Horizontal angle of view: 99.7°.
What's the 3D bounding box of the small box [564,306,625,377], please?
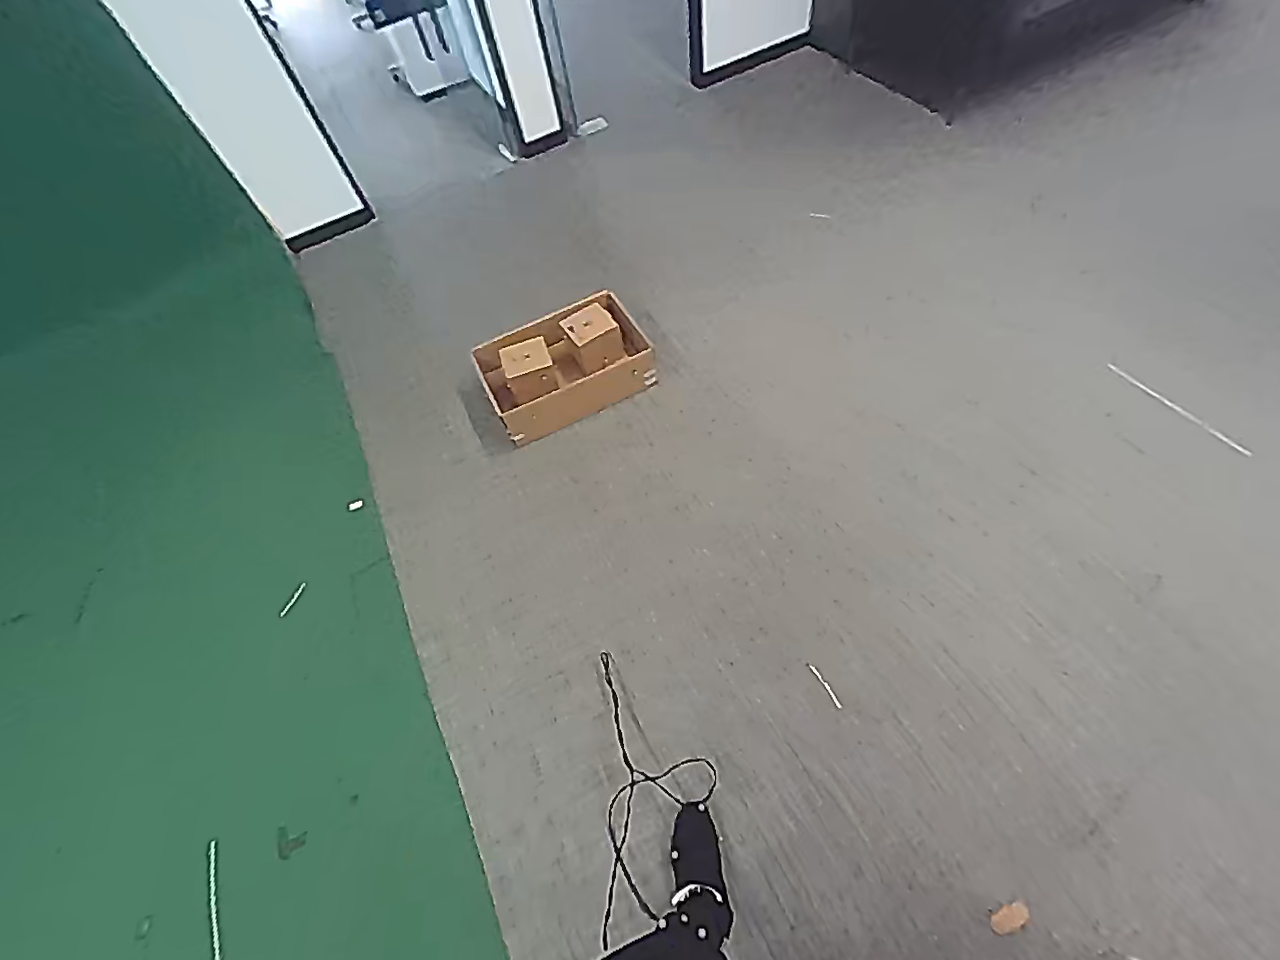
[{"bbox_3d":[-0.171,-0.535,2.104,0.179,0.176,0.168,-31,59,-10],"label":"small box"}]
